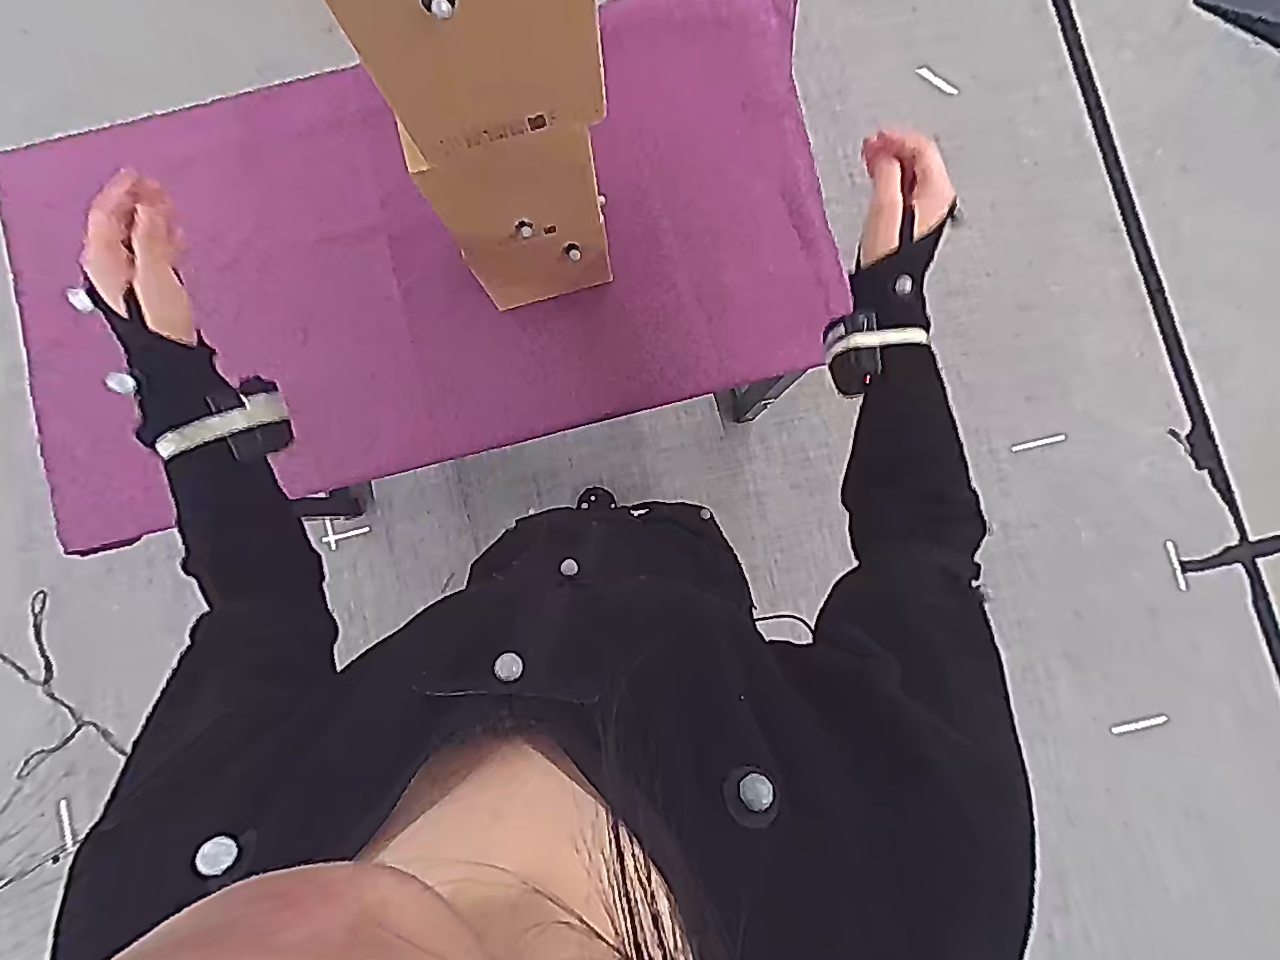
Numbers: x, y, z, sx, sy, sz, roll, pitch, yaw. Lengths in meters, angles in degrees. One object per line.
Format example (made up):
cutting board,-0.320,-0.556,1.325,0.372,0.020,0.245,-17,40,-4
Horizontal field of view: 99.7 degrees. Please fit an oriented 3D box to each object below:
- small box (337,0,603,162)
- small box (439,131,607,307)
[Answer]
small box,-0.130,-0.384,0.400,0.168,0.176,0.179,-15,86,0
small box,-0.145,-0.357,0.727,0.179,0.176,0.168,-15,86,0
